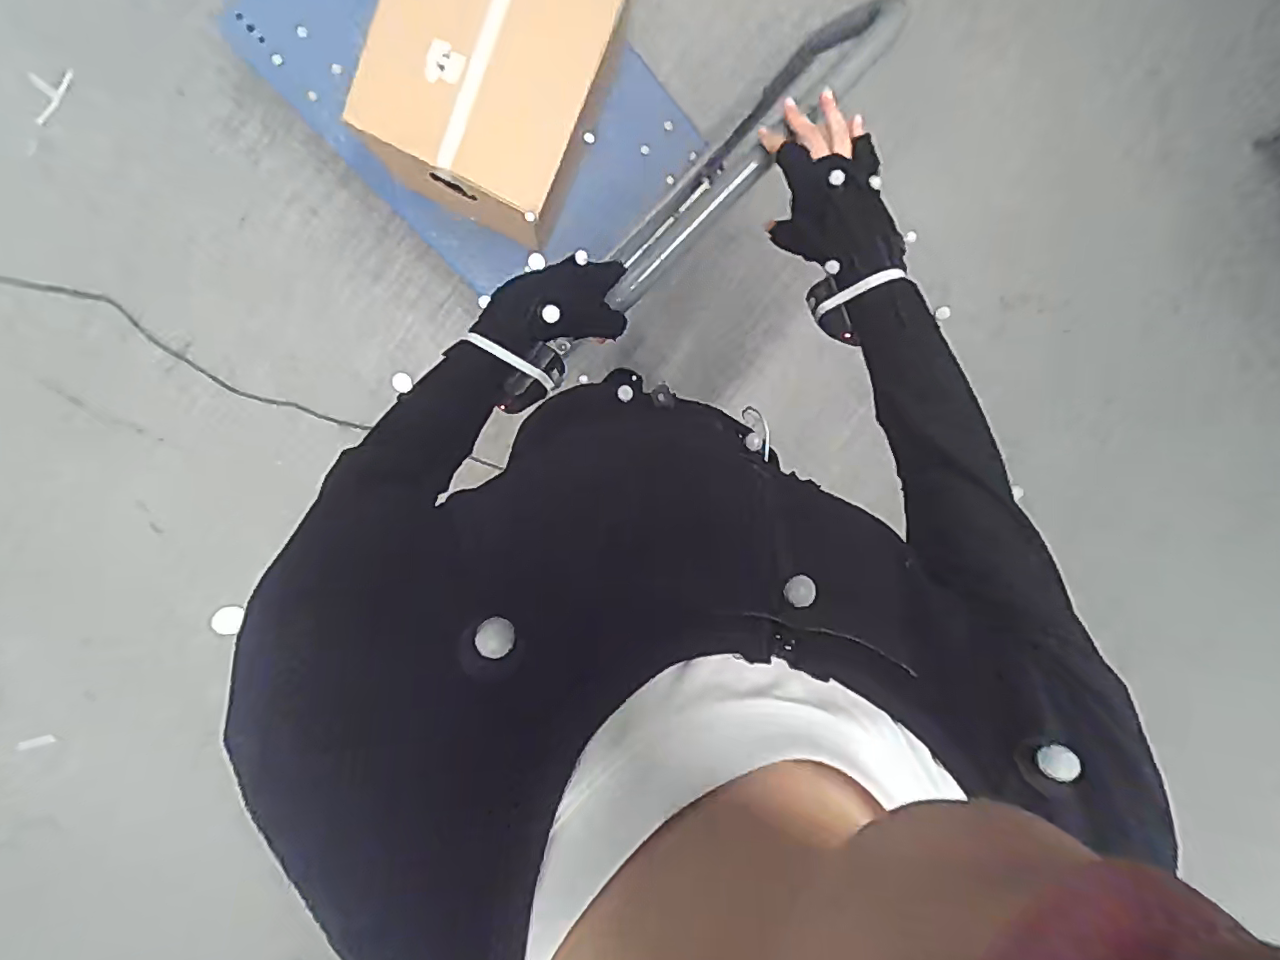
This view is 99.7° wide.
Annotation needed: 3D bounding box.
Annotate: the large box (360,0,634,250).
[{"bbox_3d":[-0.234,-0.693,0.966,0.320,0.320,0.408,23,99,-12],"label":"large box"}]
